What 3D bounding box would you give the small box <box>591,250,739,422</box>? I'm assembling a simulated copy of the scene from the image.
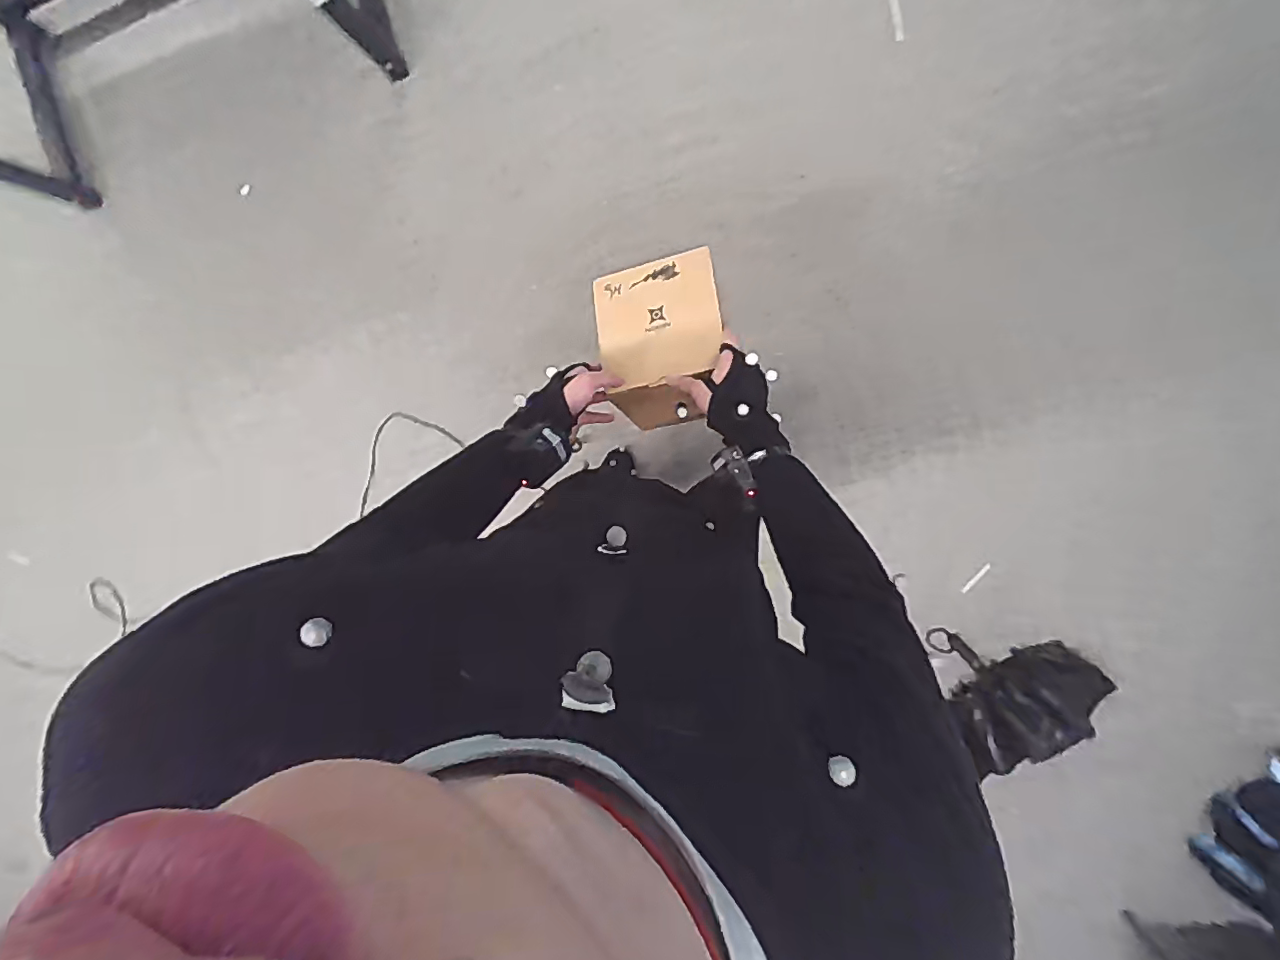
[{"bbox_3d":[0.043,-0.194,0.791,0.168,0.176,0.179,-11,77,17],"label":"small box"}]
